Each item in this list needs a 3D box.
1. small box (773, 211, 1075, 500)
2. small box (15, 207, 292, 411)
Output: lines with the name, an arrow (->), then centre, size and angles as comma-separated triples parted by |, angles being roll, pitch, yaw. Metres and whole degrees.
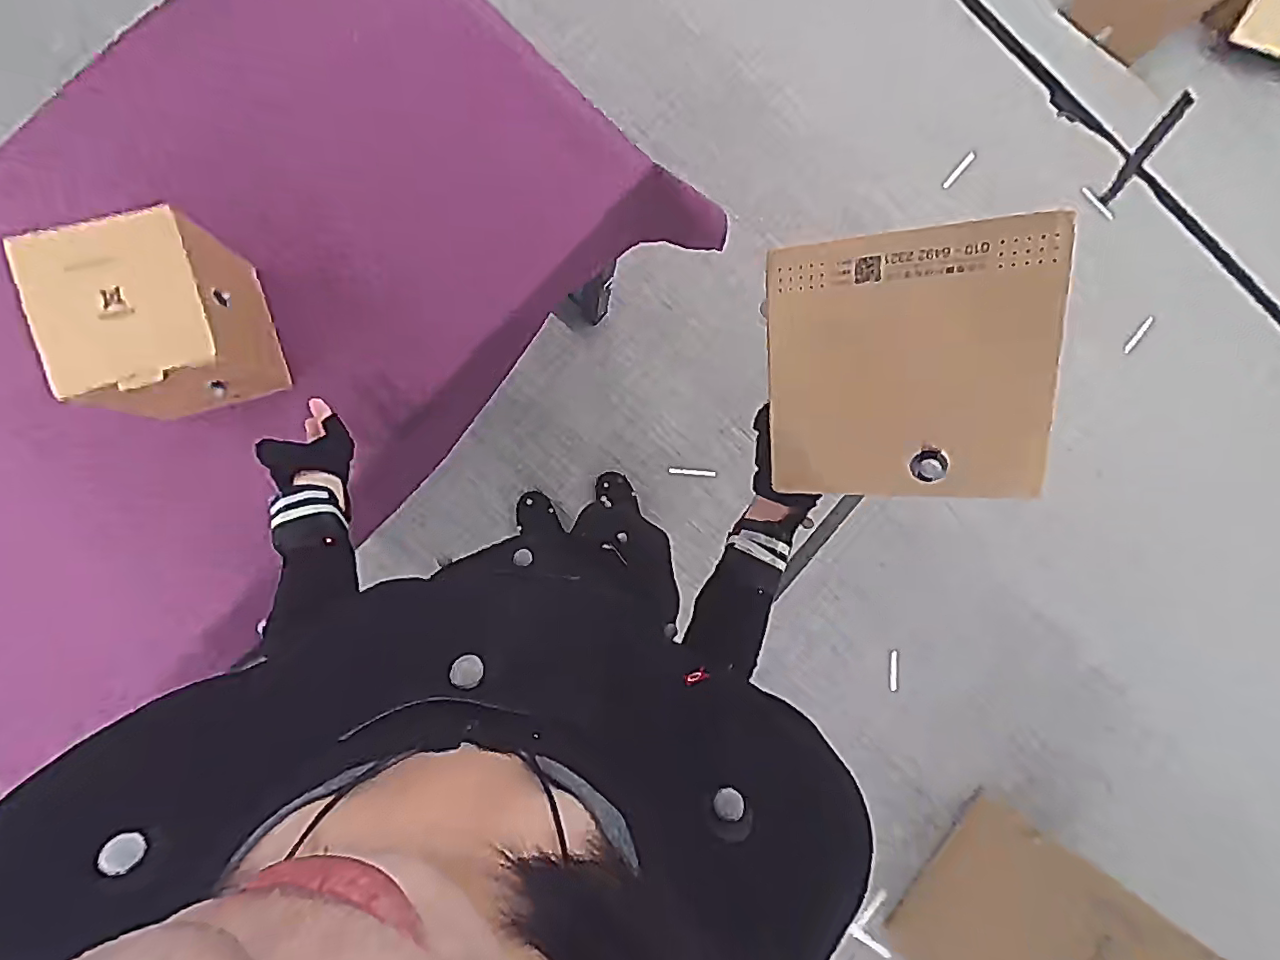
small box -> 0.195, -0.096, 0.407 | 0.168, 0.179, 0.176 | 1, 108, 22
small box -> -0.567, -0.190, 0.659 | 0.168, 0.176, 0.179 | -18, 90, -8
